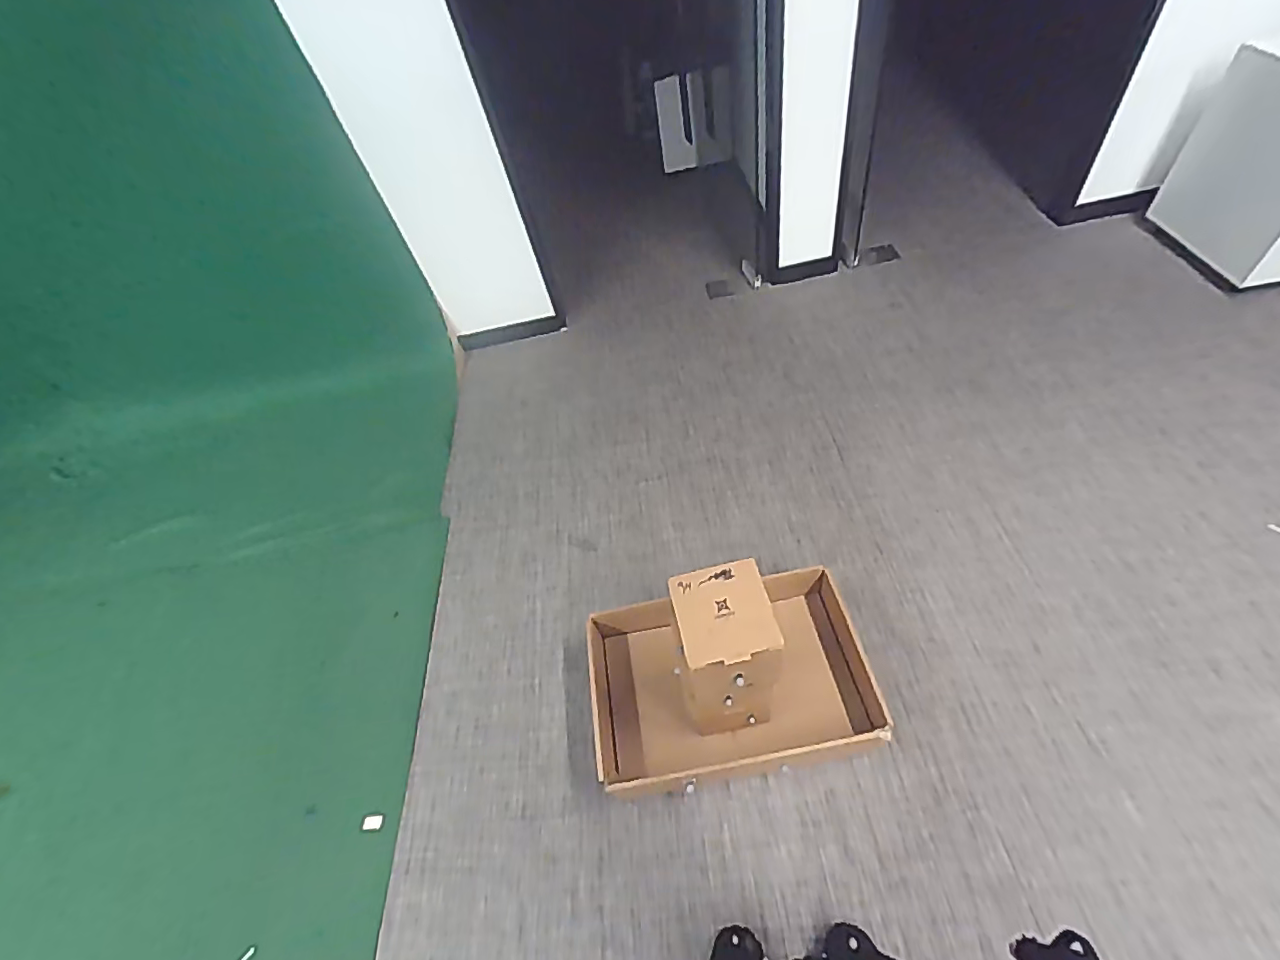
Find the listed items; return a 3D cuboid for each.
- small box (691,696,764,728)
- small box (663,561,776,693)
[{"bbox_3d":[0.191,0.467,1.271,0.168,0.176,0.179,-12,50,2],"label":"small box"},{"bbox_3d":[0.153,0.286,1.024,0.168,0.176,0.179,-16,50,1],"label":"small box"}]
